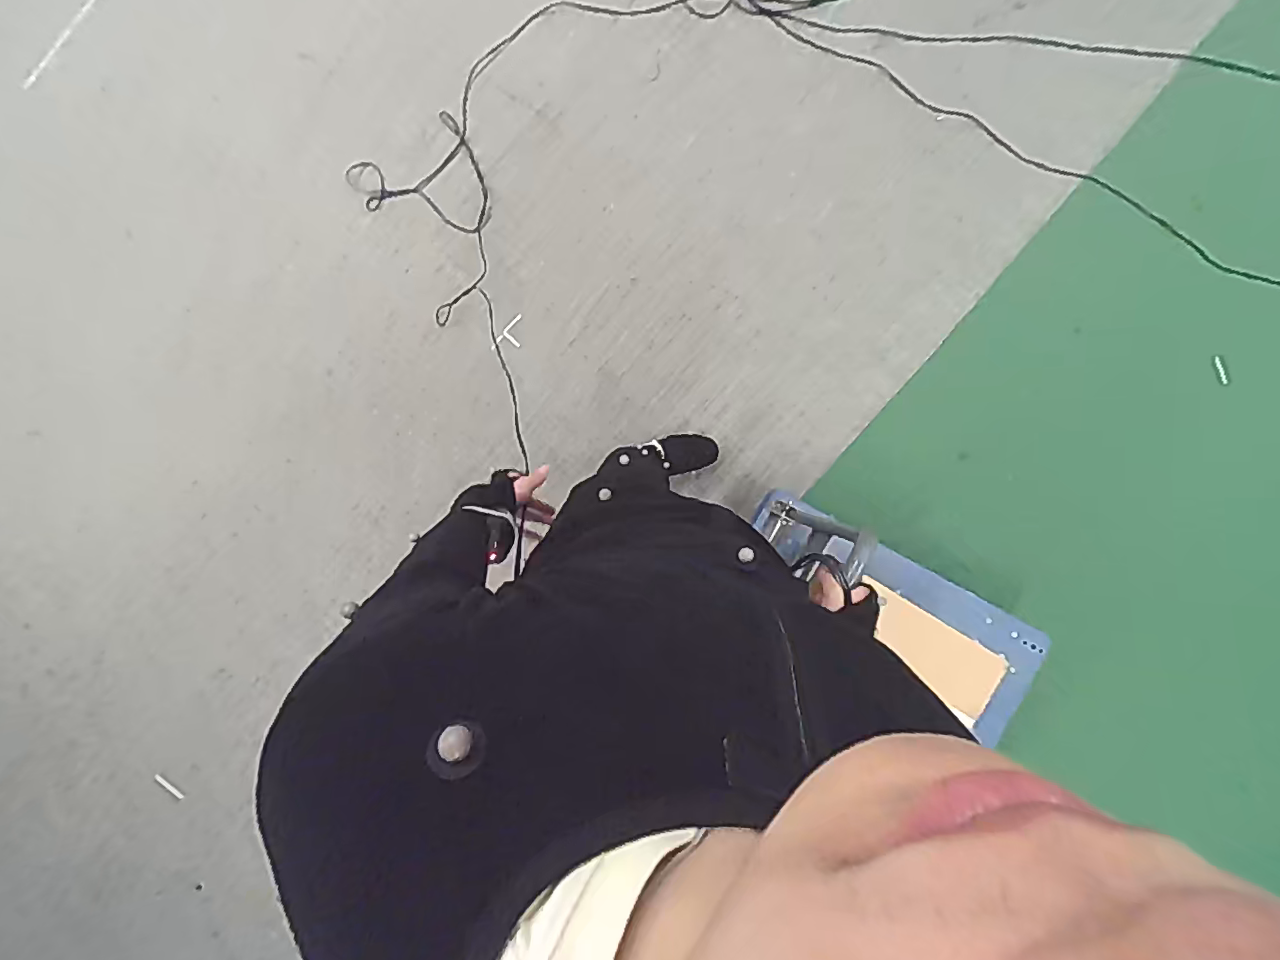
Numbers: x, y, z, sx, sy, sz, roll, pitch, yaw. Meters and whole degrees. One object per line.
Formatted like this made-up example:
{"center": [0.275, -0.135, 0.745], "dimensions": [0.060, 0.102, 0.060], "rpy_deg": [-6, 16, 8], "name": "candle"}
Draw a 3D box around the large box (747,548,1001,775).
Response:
{"center": [0.533, 0.409, 1.313], "dimensions": [0.408, 0.320, 0.320], "rpy_deg": [31, 91, -2], "name": "large box"}
